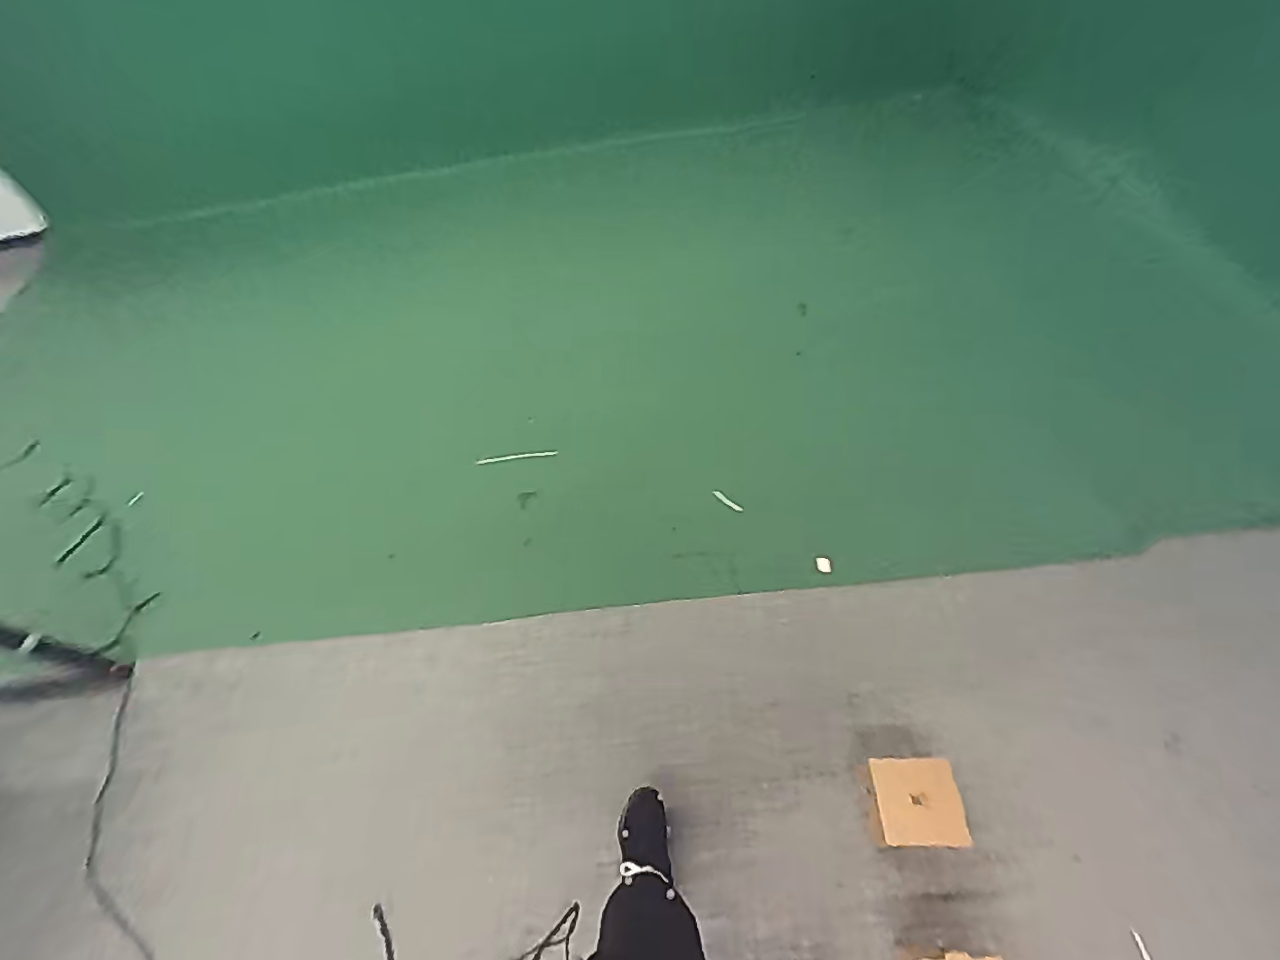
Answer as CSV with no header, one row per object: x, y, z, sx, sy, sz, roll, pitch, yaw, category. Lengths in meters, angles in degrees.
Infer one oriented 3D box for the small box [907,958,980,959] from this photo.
0.626,1.032,1.029,0.168,0.176,0.179,-6,54,6,small box

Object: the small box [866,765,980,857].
0.627,0.754,1.230,0.179,0.176,0.168,-3,54,6,small box
